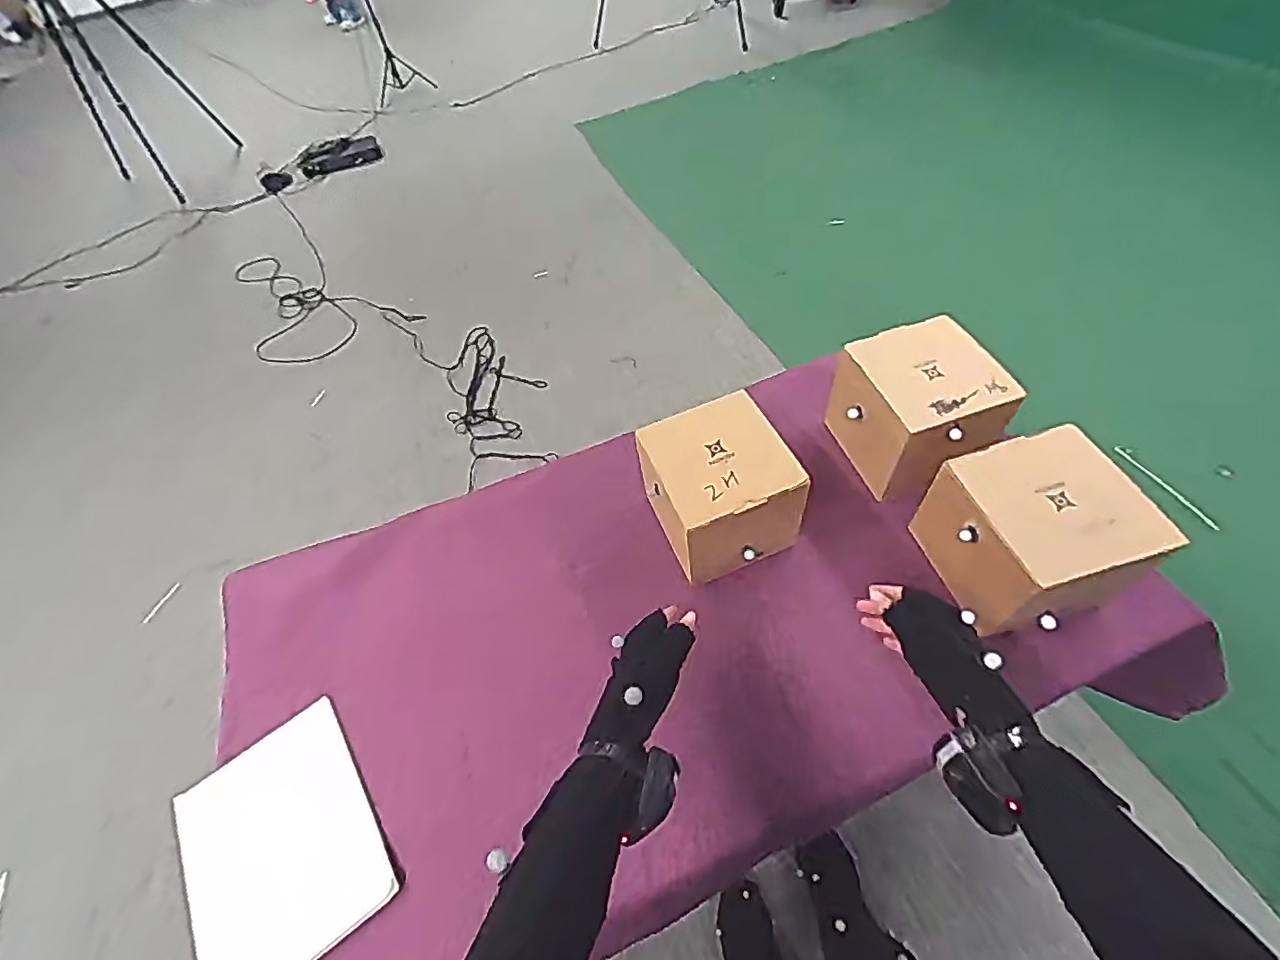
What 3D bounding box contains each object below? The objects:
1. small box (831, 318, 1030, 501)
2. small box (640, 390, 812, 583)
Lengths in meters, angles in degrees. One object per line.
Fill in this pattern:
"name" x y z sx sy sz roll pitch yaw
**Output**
"small box" 0.400 -0.099 0.787 0.168 0.176 0.179 -17 55 -4
"small box" 0.110 0.013 0.749 0.168 0.176 0.179 -21 56 -7
